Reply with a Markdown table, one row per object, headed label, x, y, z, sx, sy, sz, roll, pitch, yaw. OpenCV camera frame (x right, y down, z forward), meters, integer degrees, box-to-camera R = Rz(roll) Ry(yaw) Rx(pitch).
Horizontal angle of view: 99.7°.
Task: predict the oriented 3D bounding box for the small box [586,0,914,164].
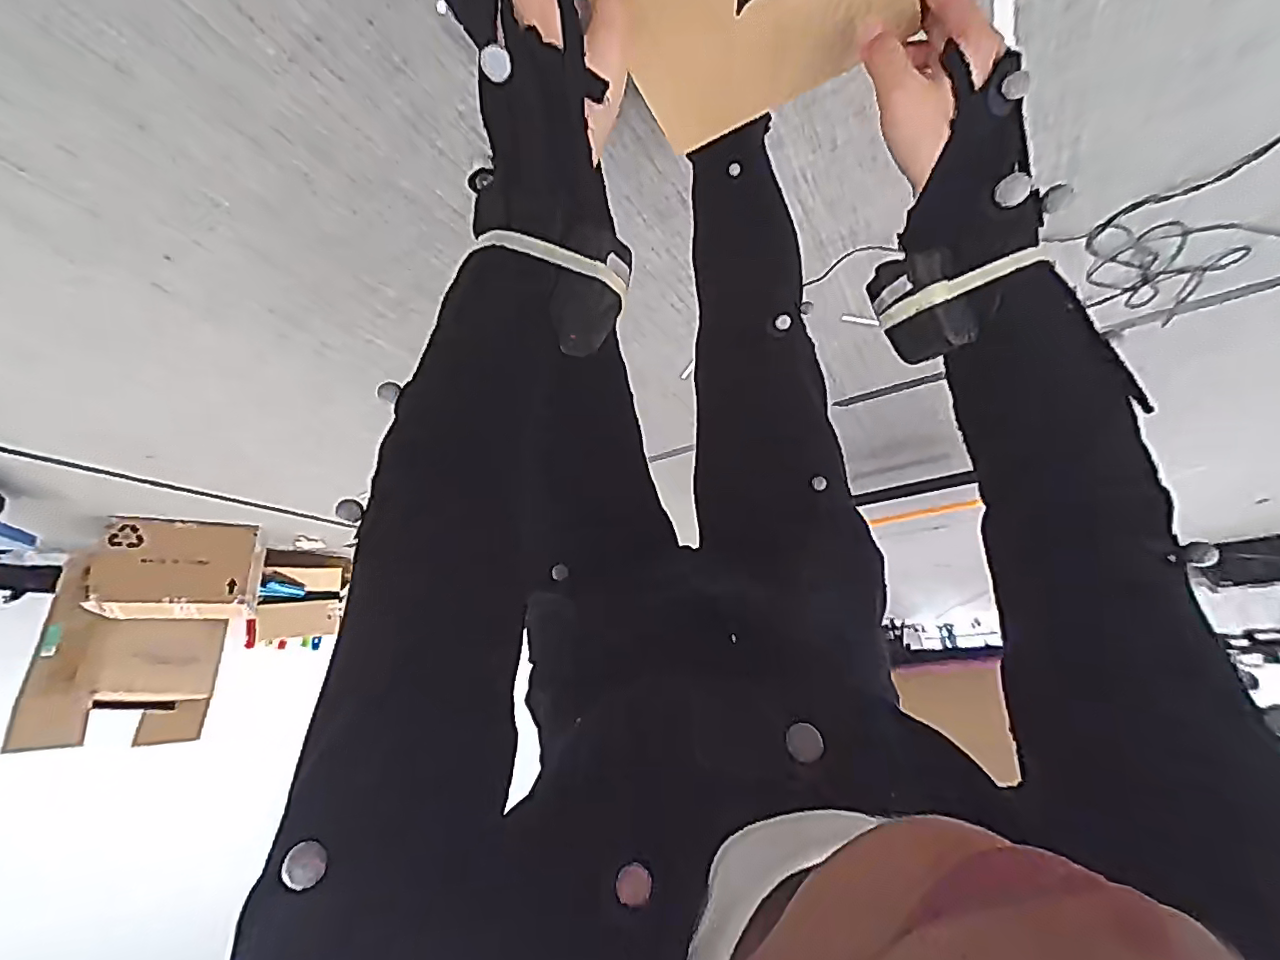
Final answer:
| label | x | y | z | sx | sy | sz | roll | pitch | yaw |
| --- | --- | --- | --- | --- | --- | --- | --- | --- | --- |
| small box | 0.055 | -0.348 | 0.322 | 0.168 | 0.176 | 0.179 | -14 | 158 | 25 |
